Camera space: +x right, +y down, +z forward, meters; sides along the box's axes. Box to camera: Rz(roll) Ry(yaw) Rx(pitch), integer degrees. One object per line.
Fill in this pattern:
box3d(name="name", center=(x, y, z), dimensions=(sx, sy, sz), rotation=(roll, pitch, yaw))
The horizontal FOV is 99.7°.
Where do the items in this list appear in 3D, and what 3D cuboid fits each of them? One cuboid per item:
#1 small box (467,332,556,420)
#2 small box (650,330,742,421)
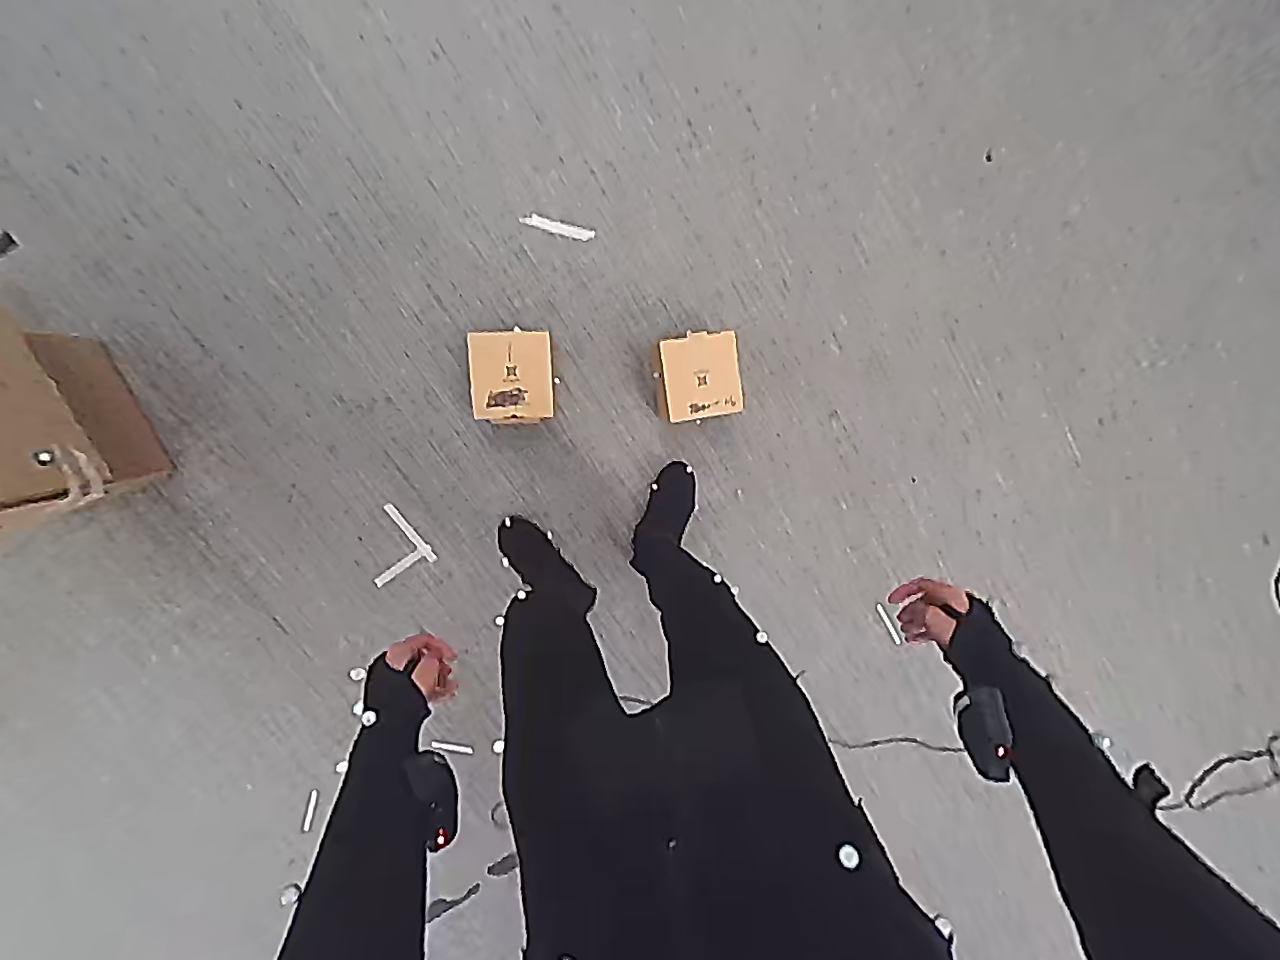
box3d(name="small box", center=(-0.272, -0.228, 1.182), dimensions=(0.168, 0.176, 0.179), rotation=(-3, 100, -6))
box3d(name="small box", center=(0.122, -0.233, 1.225), dimensions=(0.168, 0.176, 0.179), rotation=(-9, 100, -4))
